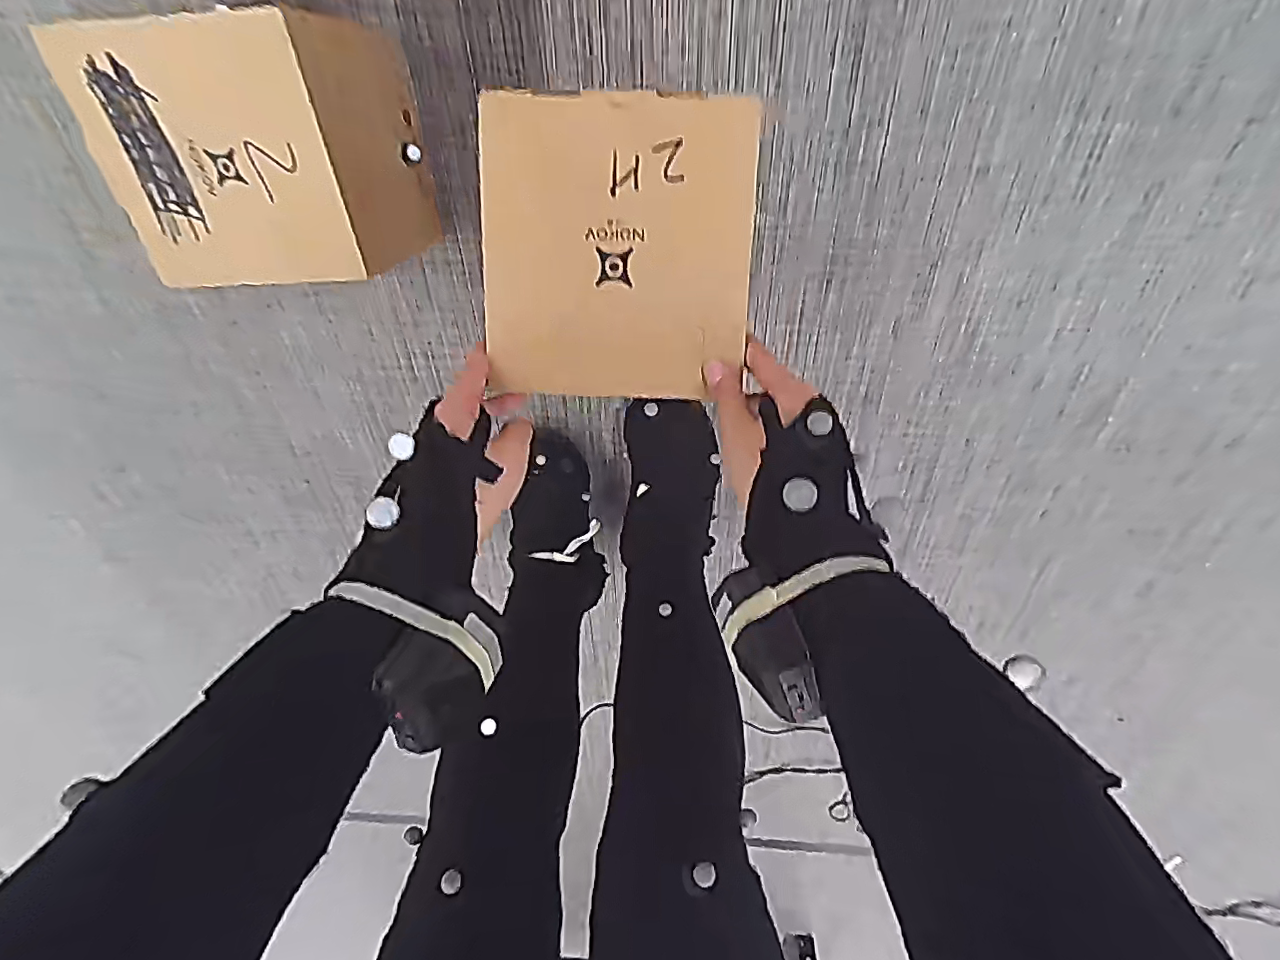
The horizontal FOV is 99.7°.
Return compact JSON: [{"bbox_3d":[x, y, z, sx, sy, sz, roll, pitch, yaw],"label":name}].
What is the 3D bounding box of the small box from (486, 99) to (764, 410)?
[{"bbox_3d":[-0.010,-0.151,0.410,0.168,0.176,0.179,2,102,1],"label":"small box"}]
